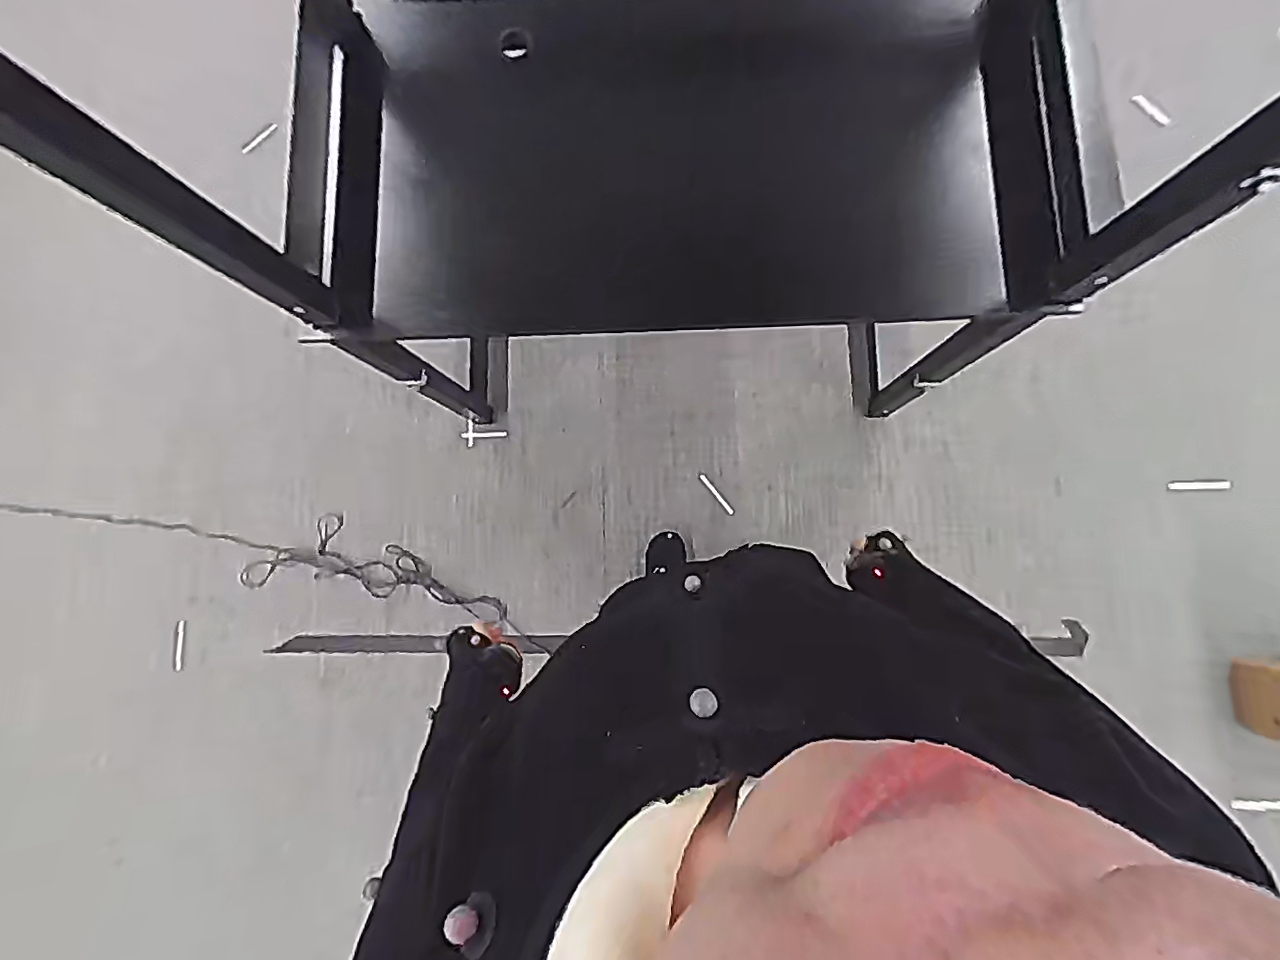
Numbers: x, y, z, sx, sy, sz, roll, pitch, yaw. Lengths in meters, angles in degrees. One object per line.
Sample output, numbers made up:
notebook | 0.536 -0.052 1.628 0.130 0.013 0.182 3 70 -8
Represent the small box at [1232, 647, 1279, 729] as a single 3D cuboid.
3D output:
small box | 1.590 0.505 1.288 0.168 0.176 0.179 -4 84 3
